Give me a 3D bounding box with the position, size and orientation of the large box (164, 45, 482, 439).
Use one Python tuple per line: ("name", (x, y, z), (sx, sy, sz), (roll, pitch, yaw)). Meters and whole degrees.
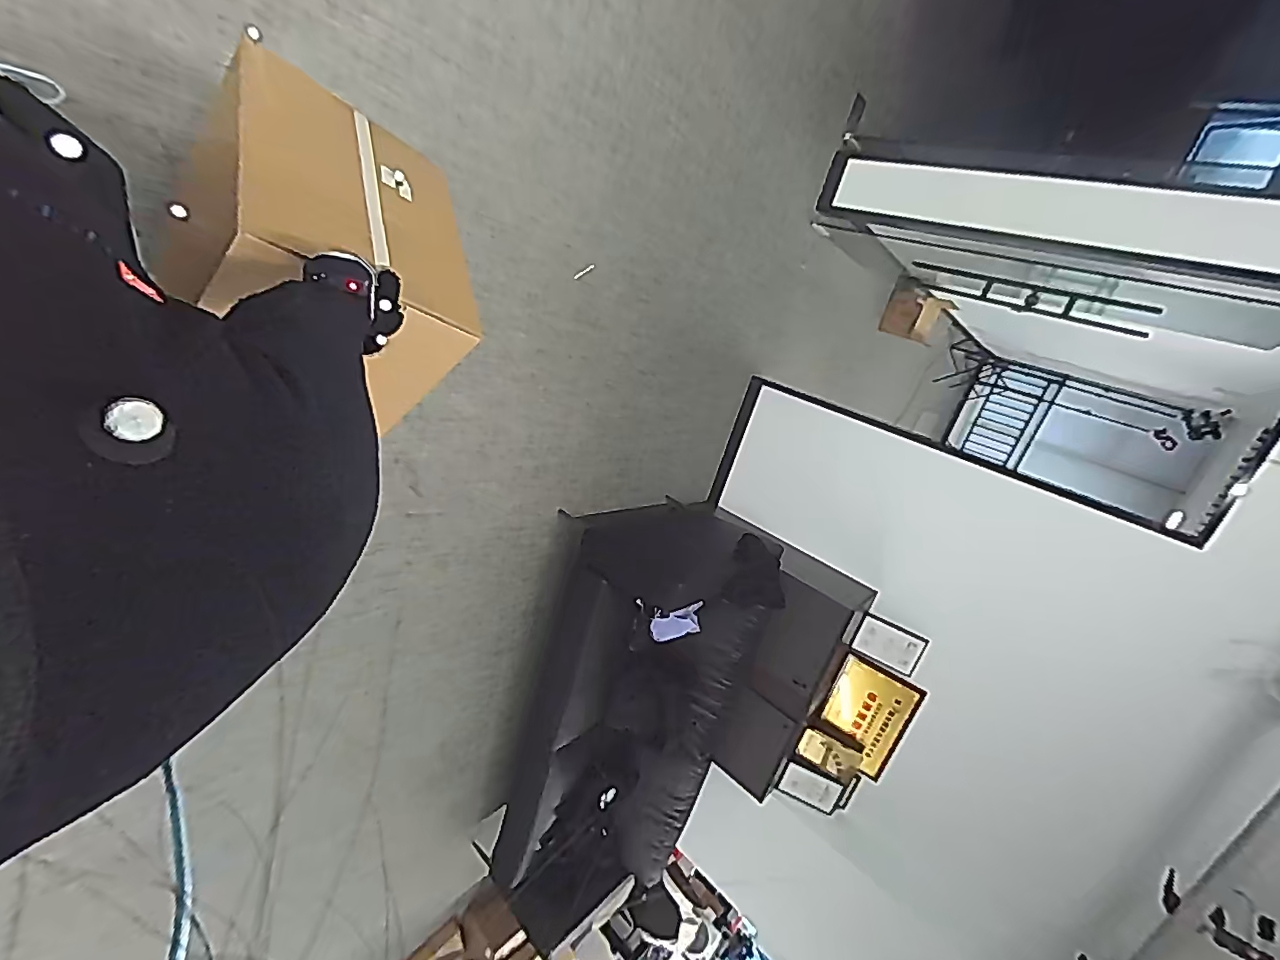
("large box", (-0.498, -0.330, 0.846), (0.320, 0.408, 0.320), (-33, 152, 27))
